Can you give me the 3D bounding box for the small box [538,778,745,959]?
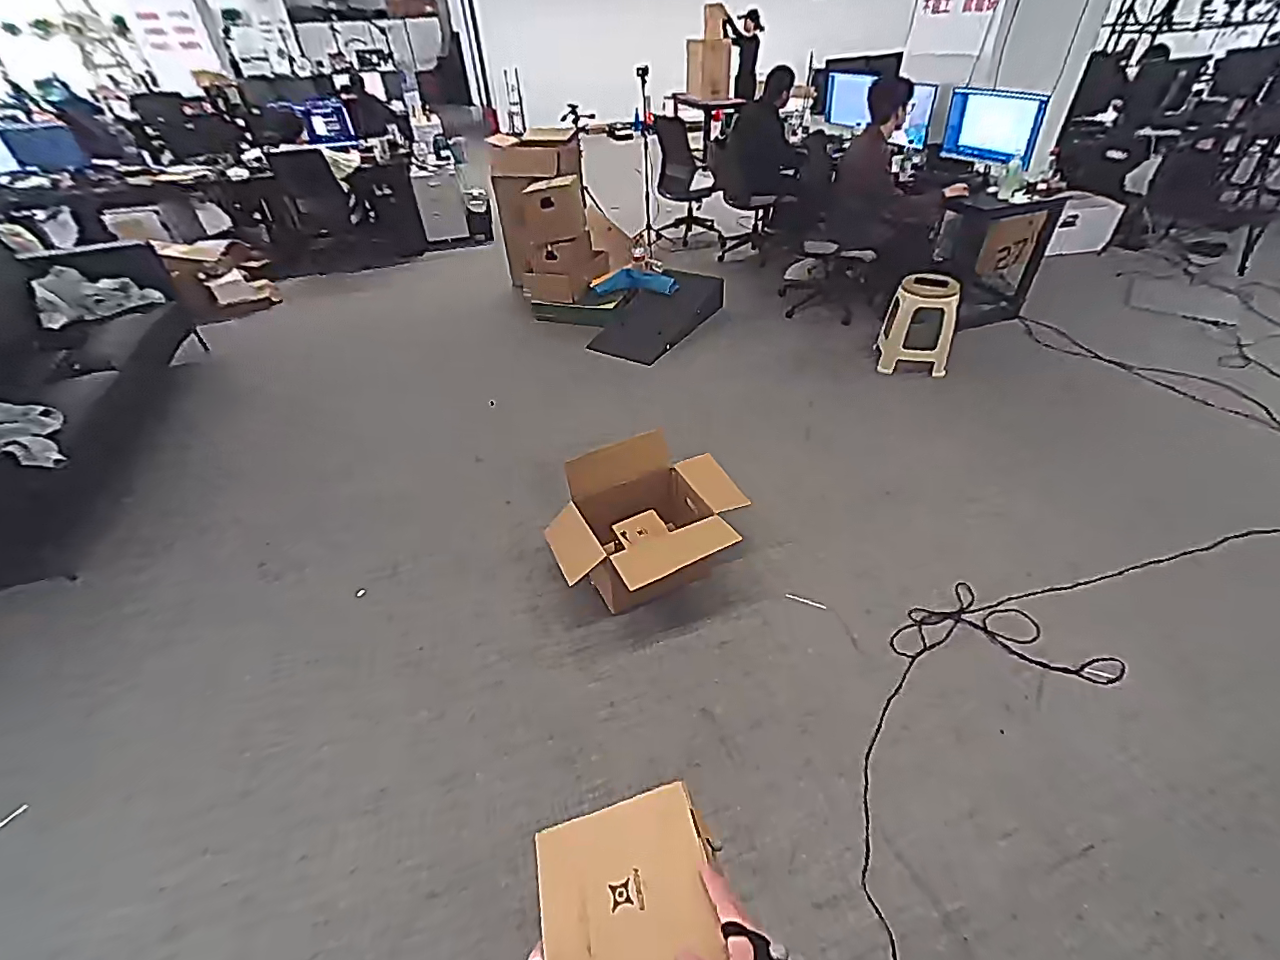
[{"bbox_3d":[0.005,0.457,0.571,0.179,0.176,0.168,-19,35,1],"label":"small box"}]
